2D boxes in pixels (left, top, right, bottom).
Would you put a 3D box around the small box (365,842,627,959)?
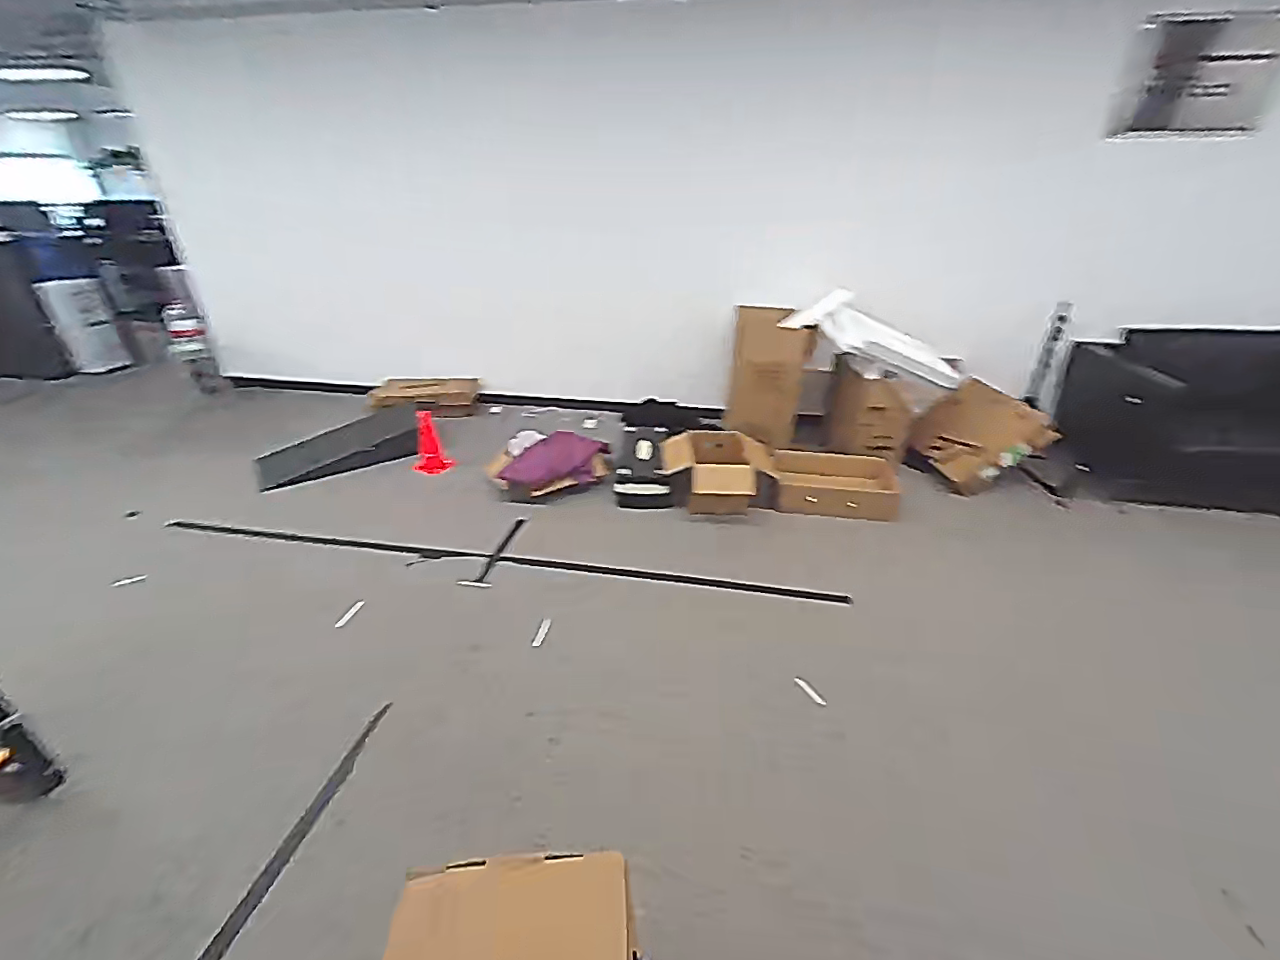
[{"bbox_3d":[-0.091,0.388,0.366,0.168,0.176,0.179,-5,30,-2],"label":"small box"}]
